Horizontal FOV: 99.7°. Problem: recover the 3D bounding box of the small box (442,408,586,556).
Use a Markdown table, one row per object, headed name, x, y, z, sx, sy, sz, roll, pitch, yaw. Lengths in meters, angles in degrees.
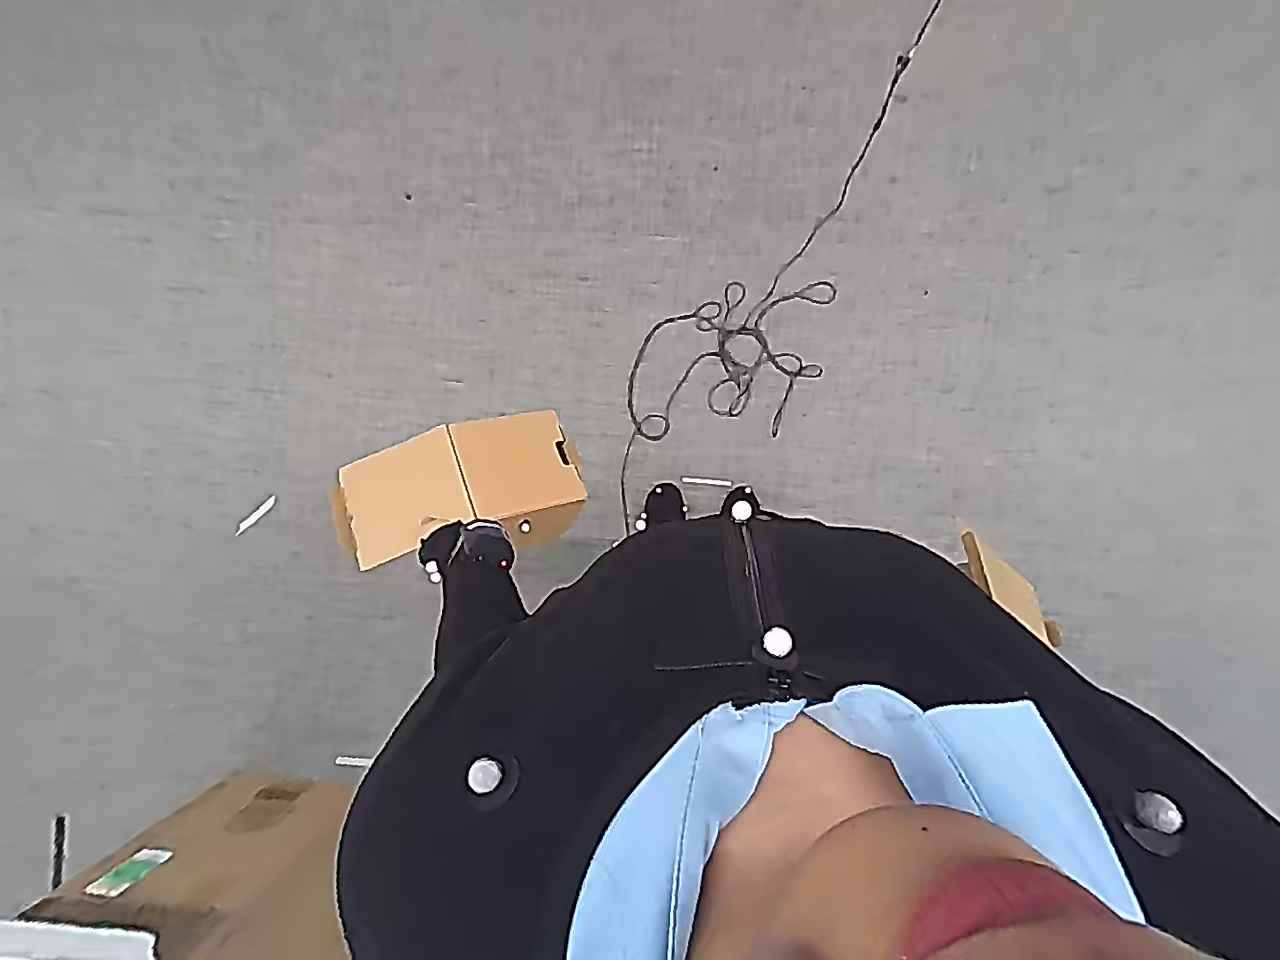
| name | x | y | z | sx | sy | sz | roll | pitch | yaw |
| --- | --- | --- | --- | --- | --- | --- | --- | --- | --- |
| small box | -0.213 | 0.006 | 0.868 | 0.179 | 0.176 | 0.168 | -13 | 70 | -30 |
